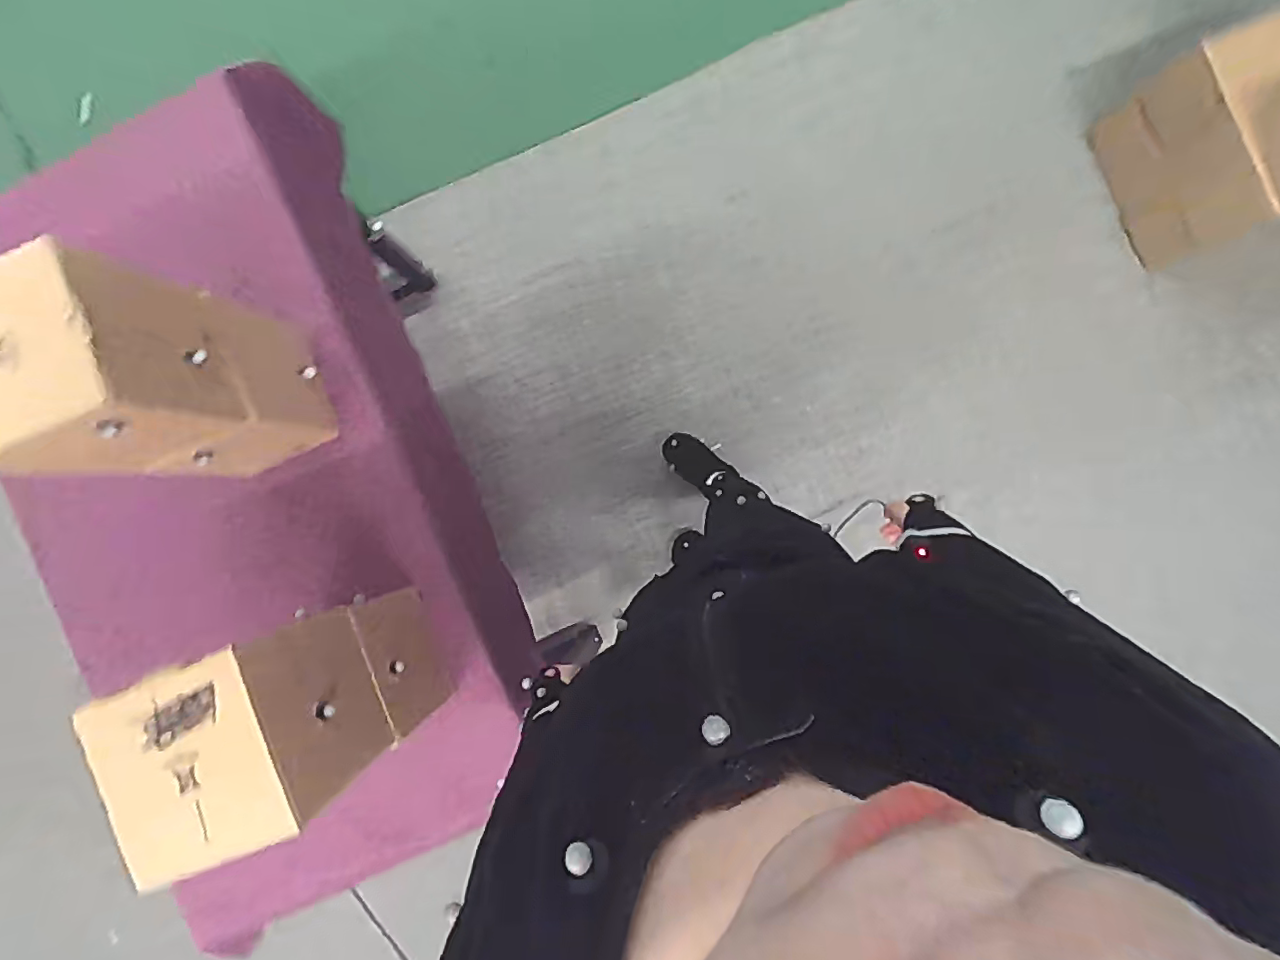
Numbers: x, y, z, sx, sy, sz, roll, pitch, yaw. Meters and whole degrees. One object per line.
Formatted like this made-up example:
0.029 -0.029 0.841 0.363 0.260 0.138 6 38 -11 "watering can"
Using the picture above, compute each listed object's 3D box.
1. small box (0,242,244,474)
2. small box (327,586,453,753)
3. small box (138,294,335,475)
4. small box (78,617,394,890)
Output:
-0.583 -0.110 0.574 0.179 0.176 0.168 -23 89 3 "small box"
-0.379 0.262 0.724 0.168 0.176 0.179 -23 88 3 "small box"
-0.564 -0.116 0.737 0.168 0.176 0.179 -24 88 4 "small box"
-0.394 0.257 0.561 0.168 0.176 0.179 -23 90 3 "small box"
